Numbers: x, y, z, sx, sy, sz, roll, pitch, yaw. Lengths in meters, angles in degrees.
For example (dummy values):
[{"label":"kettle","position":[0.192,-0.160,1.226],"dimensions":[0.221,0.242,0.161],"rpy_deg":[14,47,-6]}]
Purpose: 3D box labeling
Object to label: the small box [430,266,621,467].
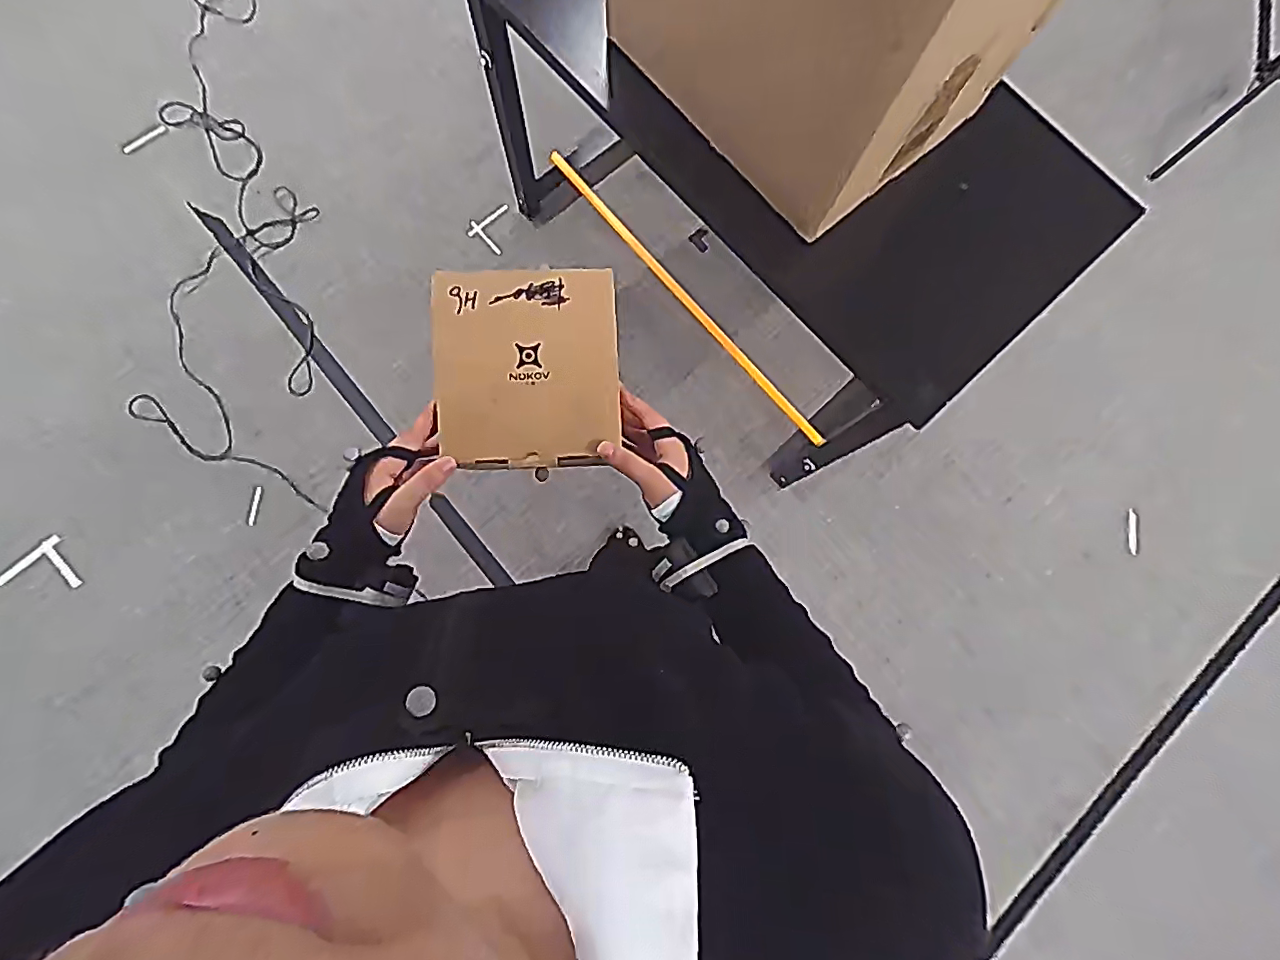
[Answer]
[{"label":"small box","position":[-0.106,-0.104,0.563],"dimensions":[0.168,0.176,0.179],"rpy_deg":[-3,90,-5]}]
